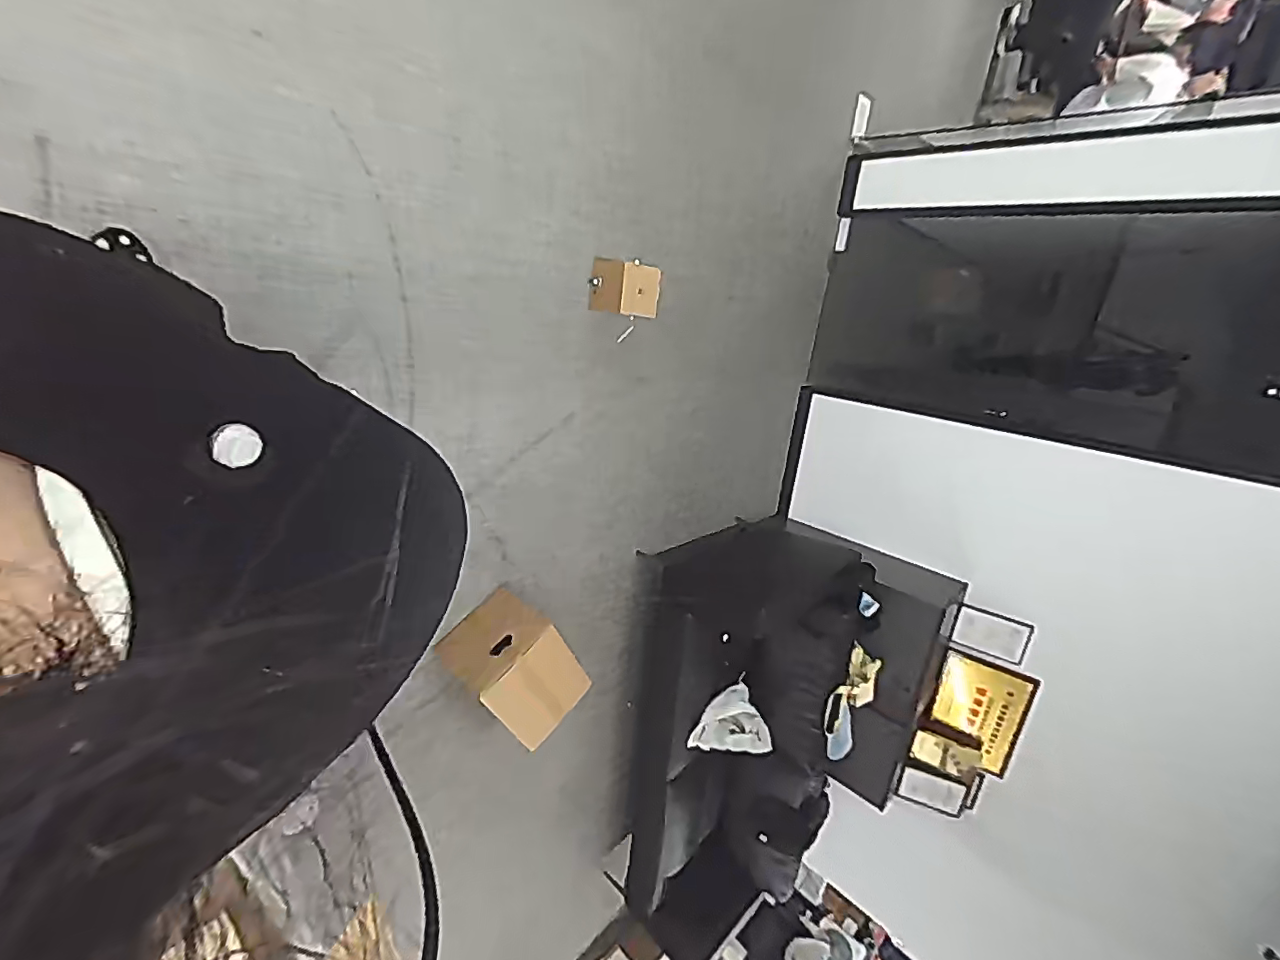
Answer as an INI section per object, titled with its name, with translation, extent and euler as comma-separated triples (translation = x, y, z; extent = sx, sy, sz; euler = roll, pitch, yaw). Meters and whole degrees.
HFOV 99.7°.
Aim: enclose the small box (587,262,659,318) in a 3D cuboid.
[small box]
translation = -0.062, -0.662, 1.883
extent = 0.179, 0.176, 0.168
euler = -11, 114, -44
